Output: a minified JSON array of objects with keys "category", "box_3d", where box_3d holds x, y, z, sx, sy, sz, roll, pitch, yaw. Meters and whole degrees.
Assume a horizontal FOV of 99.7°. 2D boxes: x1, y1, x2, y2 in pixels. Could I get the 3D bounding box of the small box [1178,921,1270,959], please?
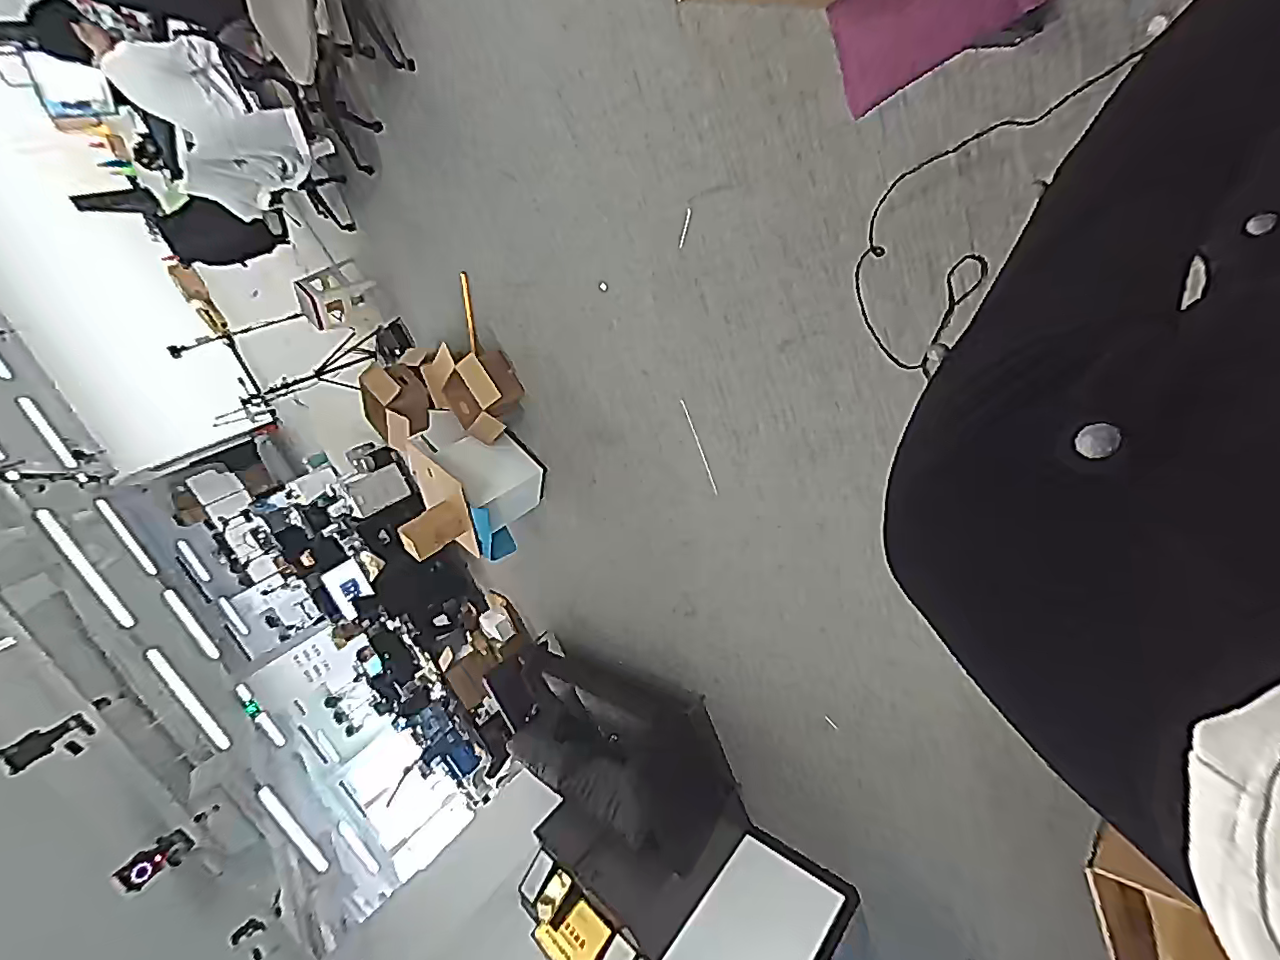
[{"category":"small box","box_3d":[1.389,1.205,1.271,0.168,0.176,0.179,-3,116,51]}]
